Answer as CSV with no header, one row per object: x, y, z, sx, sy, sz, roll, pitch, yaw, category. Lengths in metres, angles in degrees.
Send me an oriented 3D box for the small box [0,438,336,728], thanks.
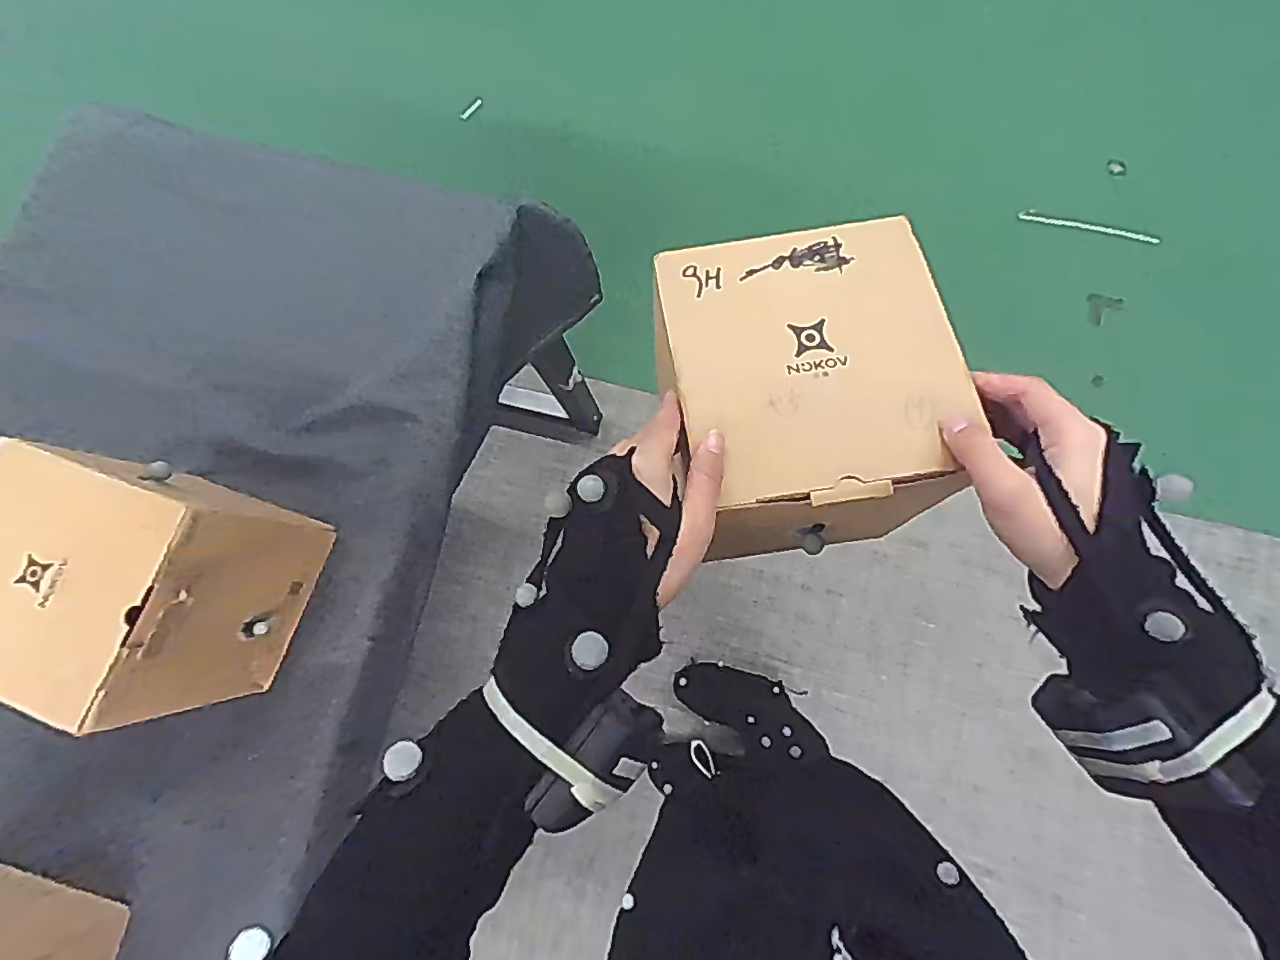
-0.414,0.084,0.465,0.179,0.176,0.168,18,80,8,small box

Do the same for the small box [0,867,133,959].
-0.558,0.430,0.404,0.179,0.176,0.168,11,80,7,small box

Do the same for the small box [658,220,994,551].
0.108,-0.050,0.398,0.168,0.176,0.179,-9,72,0,small box
